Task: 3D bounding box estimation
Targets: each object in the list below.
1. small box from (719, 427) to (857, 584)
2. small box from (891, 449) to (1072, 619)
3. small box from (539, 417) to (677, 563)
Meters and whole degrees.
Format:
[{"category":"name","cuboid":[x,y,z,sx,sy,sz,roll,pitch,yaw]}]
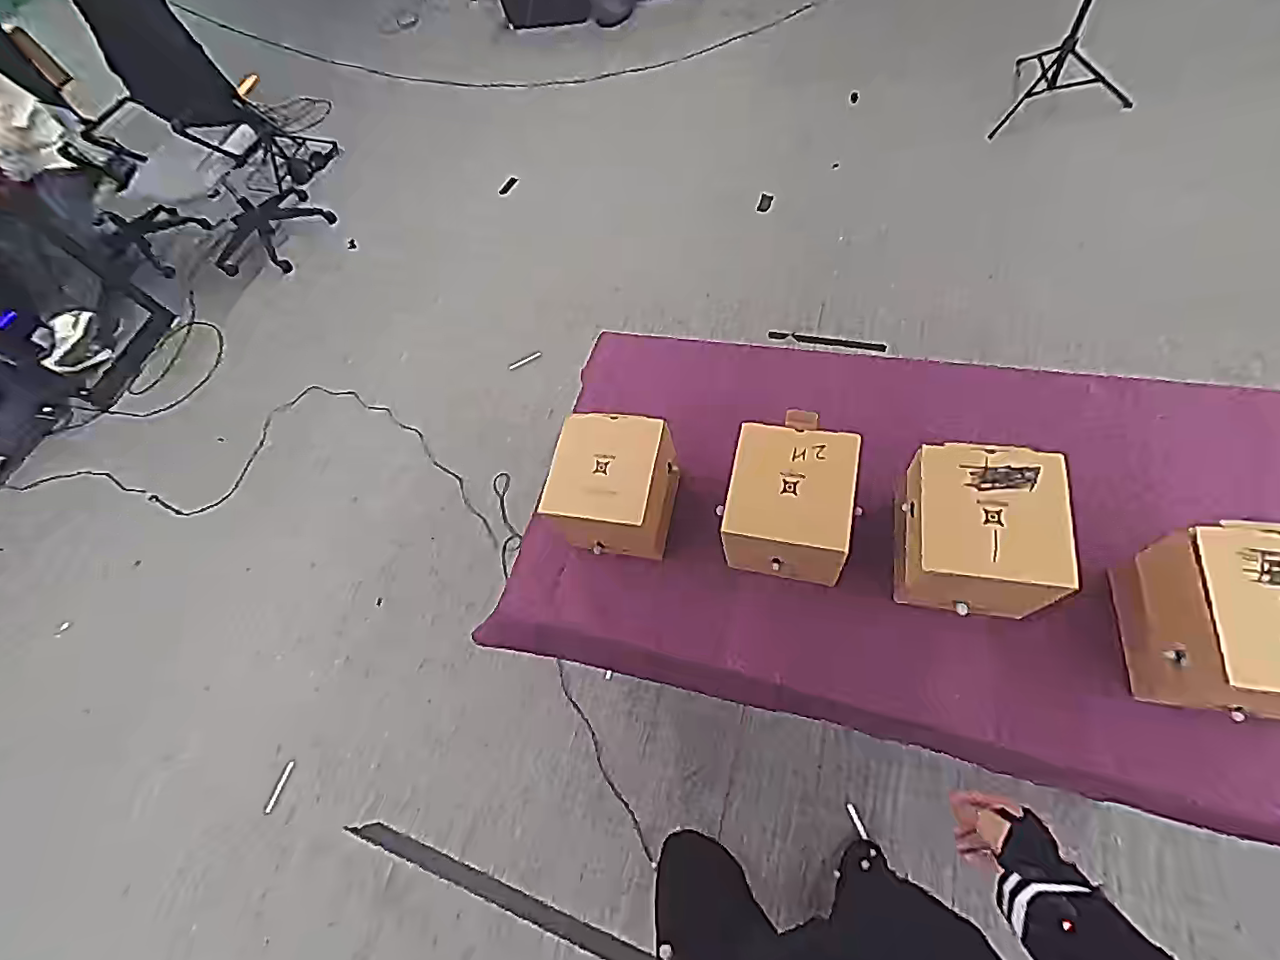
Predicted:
[{"category":"small box","cuboid":[0.223,0.043,0.815,0.168,0.176,0.179,8,66,17]},{"category":"small box","cuboid":[0.452,0.077,0.745,0.168,0.176,0.179,5,66,16]},{"category":"small box","cuboid":[-0.040,0.018,0.890,0.168,0.176,0.179,6,65,16]}]
